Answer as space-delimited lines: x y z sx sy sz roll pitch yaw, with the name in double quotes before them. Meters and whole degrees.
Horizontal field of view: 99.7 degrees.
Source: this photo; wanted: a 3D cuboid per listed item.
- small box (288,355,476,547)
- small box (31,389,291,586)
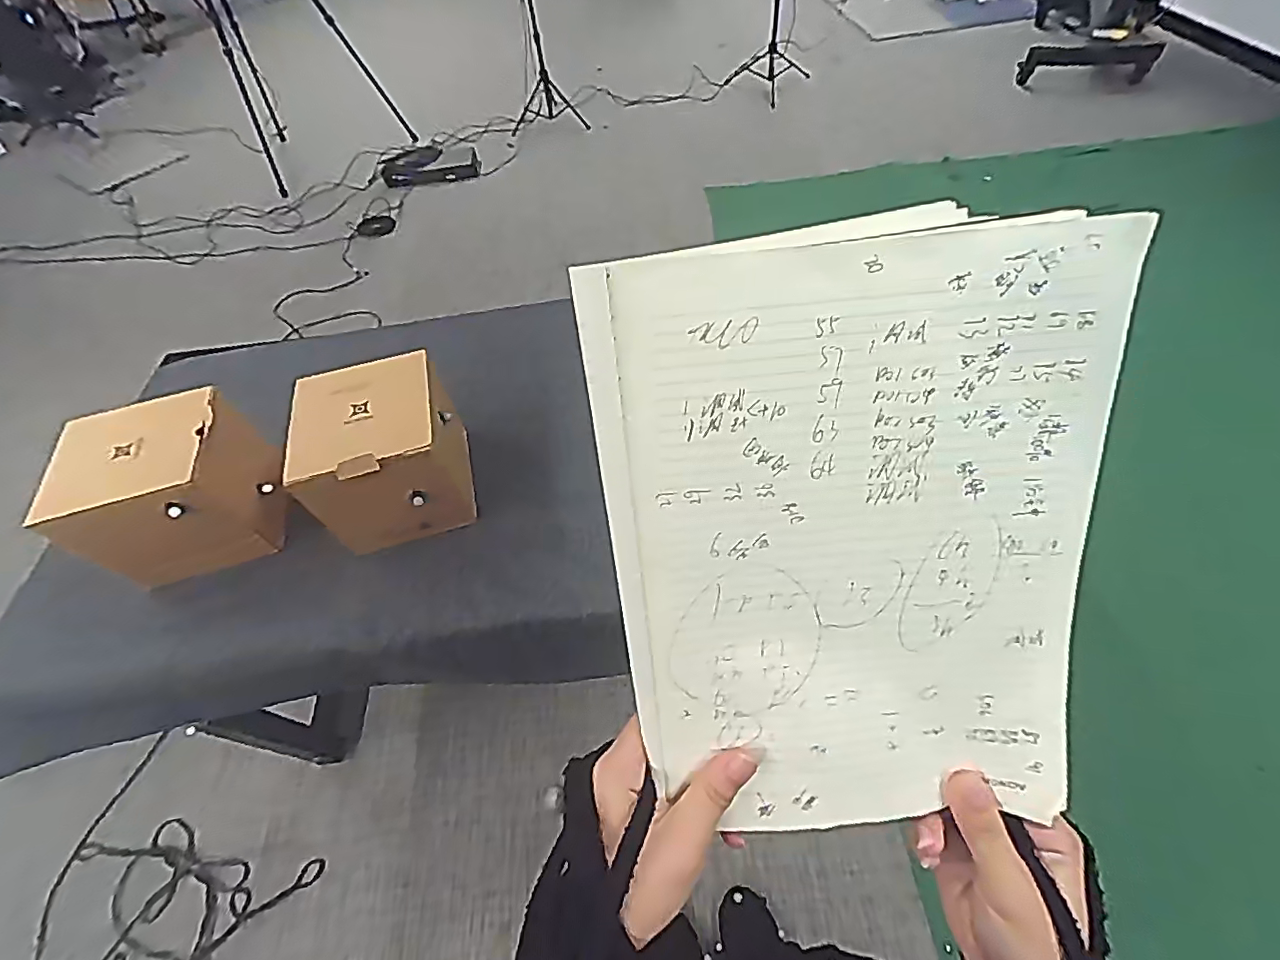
"small box" -0.324 -0.030 0.711 0.168 0.176 0.179 -15 53 -7
"small box" -0.594 0.014 0.704 0.179 0.176 0.168 -16 53 -8
